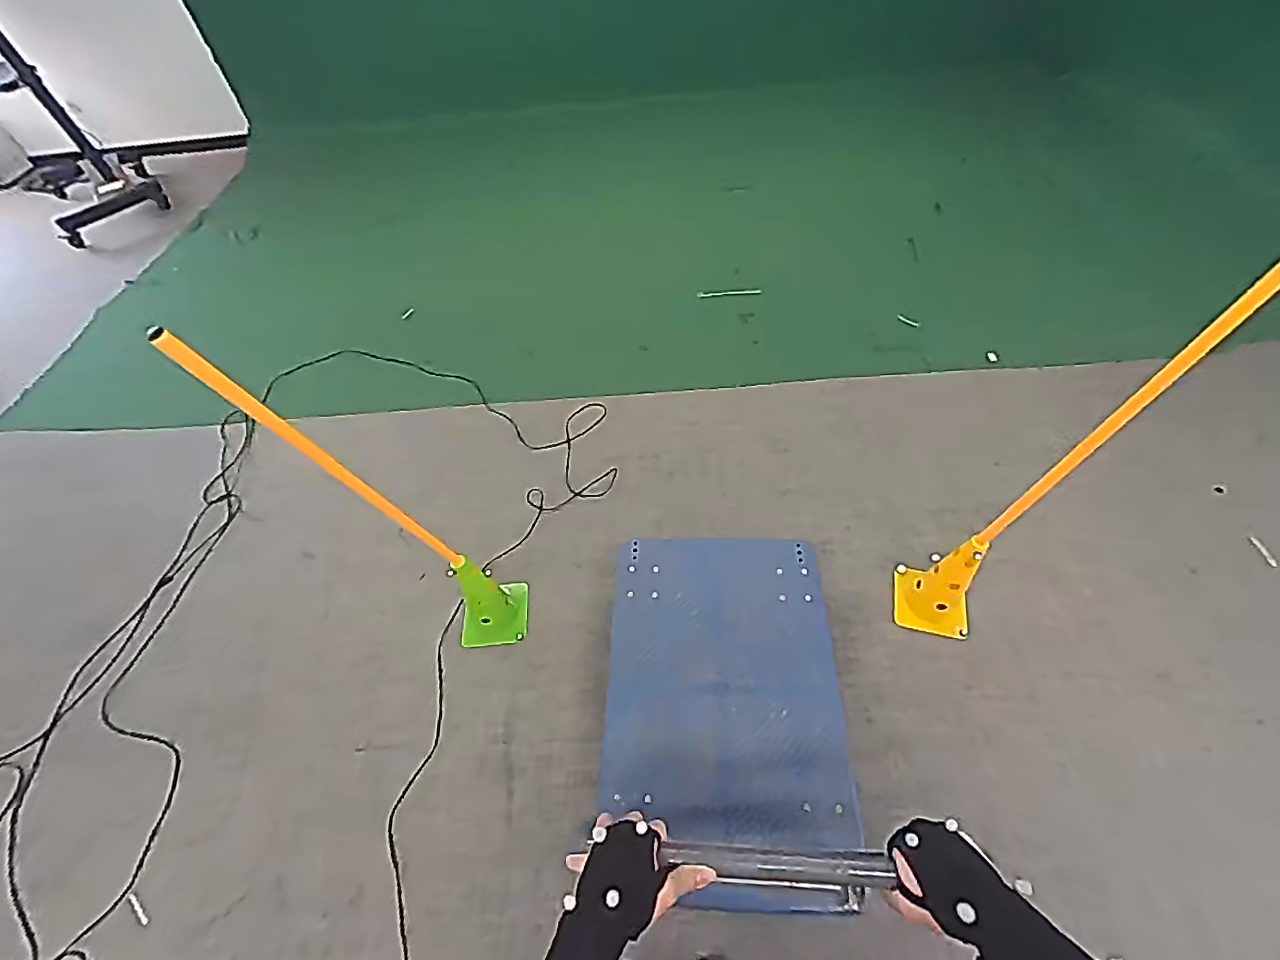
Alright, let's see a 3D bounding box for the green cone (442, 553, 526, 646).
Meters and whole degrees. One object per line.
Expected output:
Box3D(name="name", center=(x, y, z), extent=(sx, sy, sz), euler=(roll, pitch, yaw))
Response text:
Box3D(name="green cone", center=(-0.475, 0.309, 1.554), extent=(0.202, 0.368, 0.200), euler=(-7, 52, 1))
